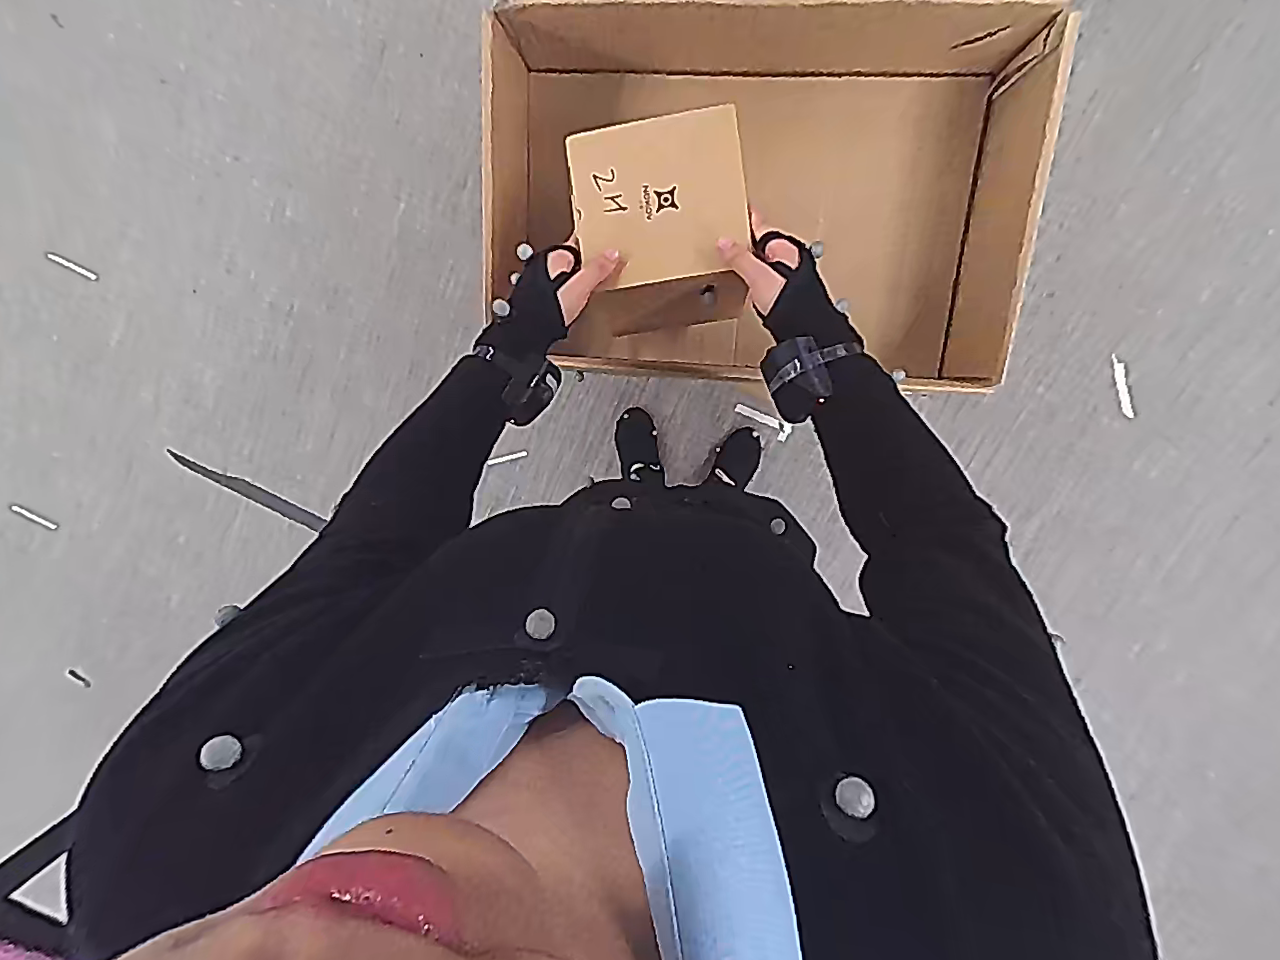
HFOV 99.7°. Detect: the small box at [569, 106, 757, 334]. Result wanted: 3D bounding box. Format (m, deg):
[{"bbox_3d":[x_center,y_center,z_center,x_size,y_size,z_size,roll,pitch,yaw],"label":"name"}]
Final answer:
[{"bbox_3d":[0.030,-0.277,0.616,0.179,0.176,0.168,-7,89,7],"label":"small box"}]
